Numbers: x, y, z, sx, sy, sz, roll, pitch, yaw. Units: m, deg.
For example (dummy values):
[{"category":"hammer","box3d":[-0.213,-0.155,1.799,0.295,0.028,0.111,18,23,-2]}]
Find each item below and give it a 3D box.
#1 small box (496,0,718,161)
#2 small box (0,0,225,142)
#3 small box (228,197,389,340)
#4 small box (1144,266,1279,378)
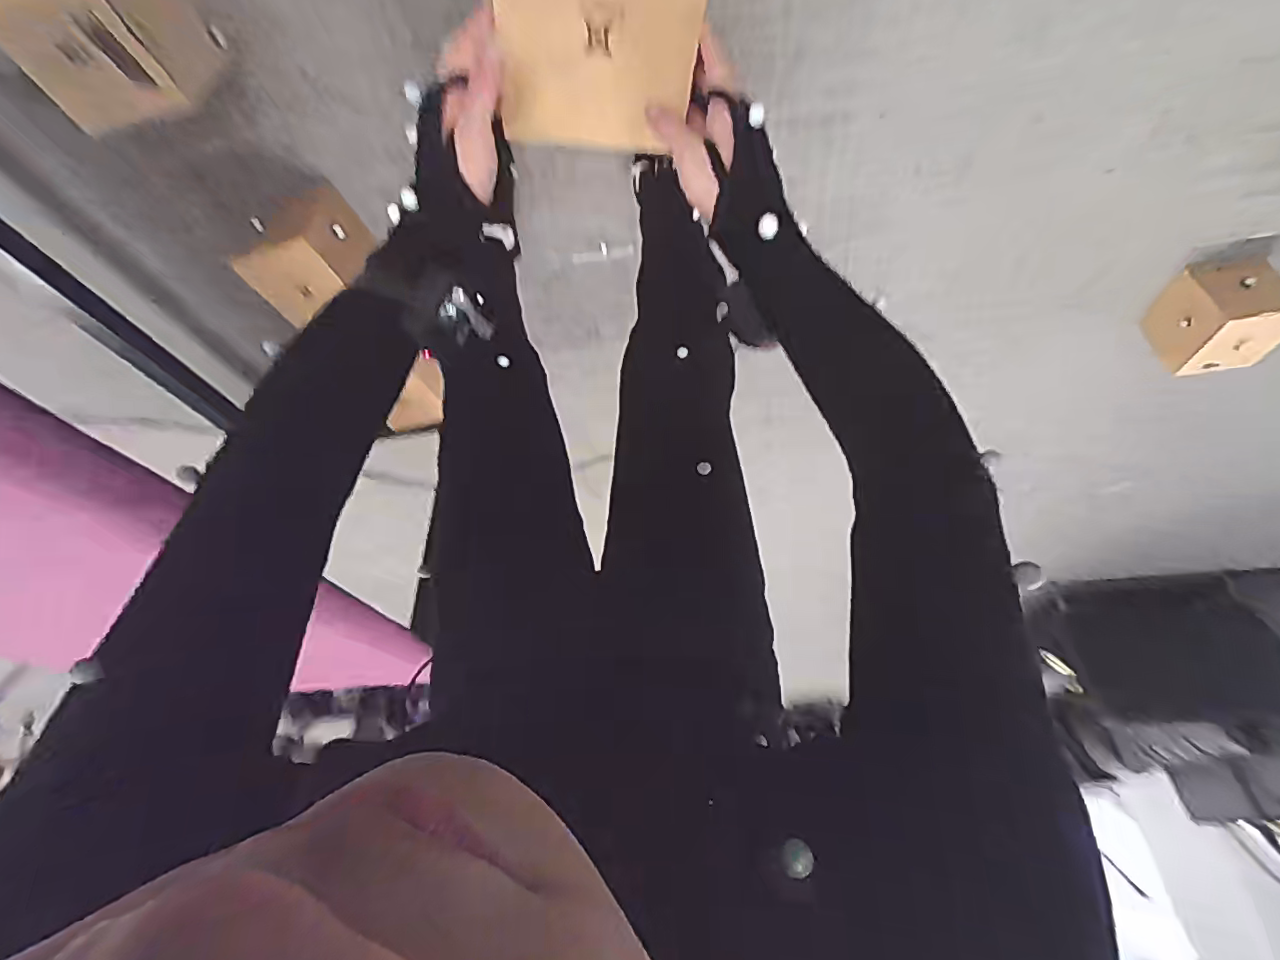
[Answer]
[{"category":"small box","box3d":[-0.031,-0.410,0.461,0.168,0.176,0.179,0,145,-9]},{"category":"small box","box3d":[-0.698,-0.591,0.714,0.179,0.176,0.168,-8,146,10]},{"category":"small box","box3d":[-0.608,-0.399,1.015,0.168,0.176,0.179,-10,147,13]},{"category":"small box","box3d":[1.305,-0.359,1.215,0.168,0.176,0.179,-7,146,6]}]
